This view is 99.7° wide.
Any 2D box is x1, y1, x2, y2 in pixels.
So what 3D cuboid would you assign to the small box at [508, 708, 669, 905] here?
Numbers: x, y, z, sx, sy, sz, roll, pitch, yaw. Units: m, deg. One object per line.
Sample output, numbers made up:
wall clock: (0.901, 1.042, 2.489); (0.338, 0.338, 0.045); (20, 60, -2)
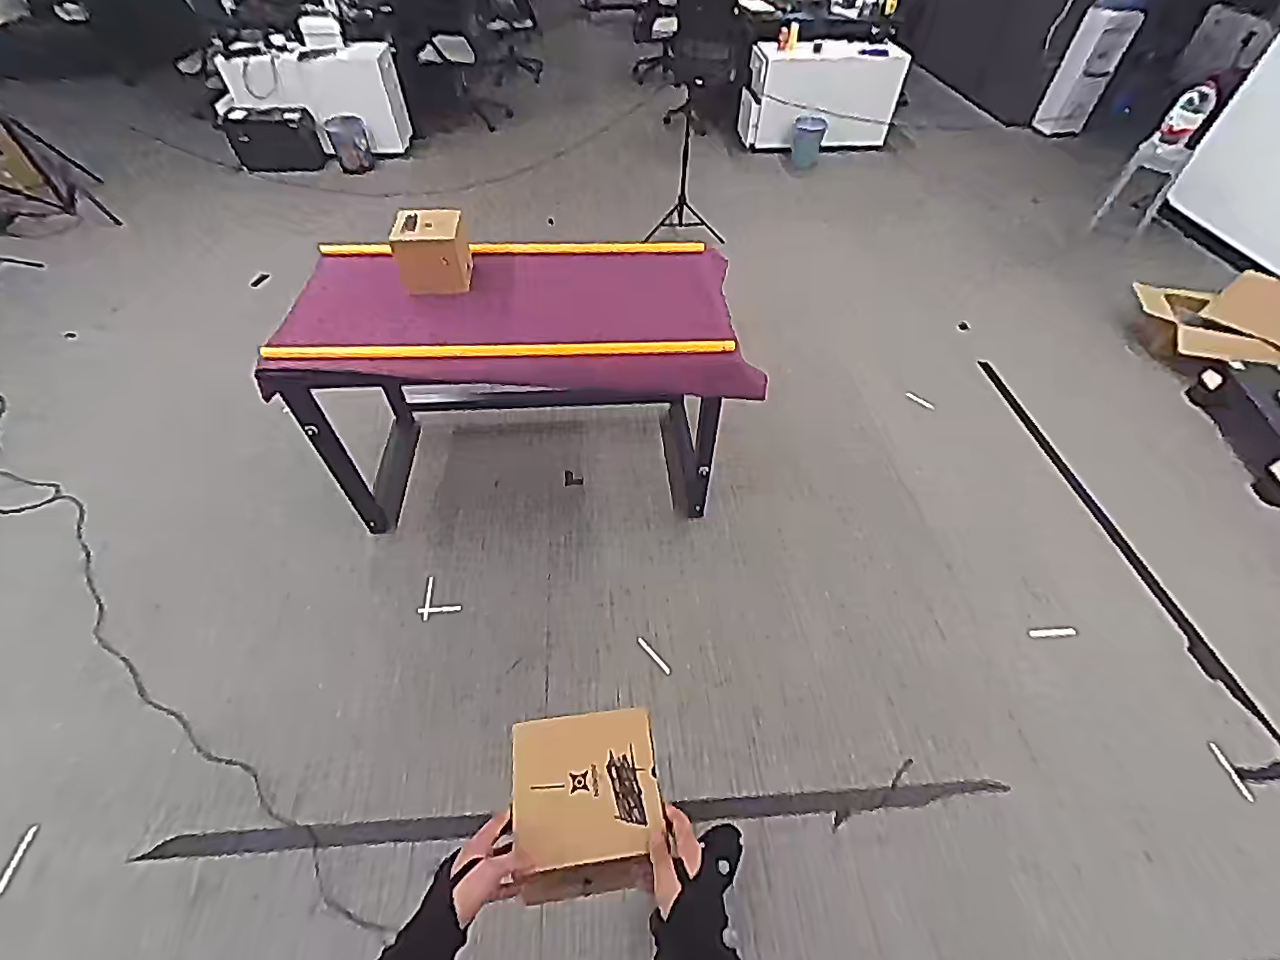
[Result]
small box: (-0.070, 0.415, 0.690); (0.179, 0.176, 0.168); (-4, 43, -8)
